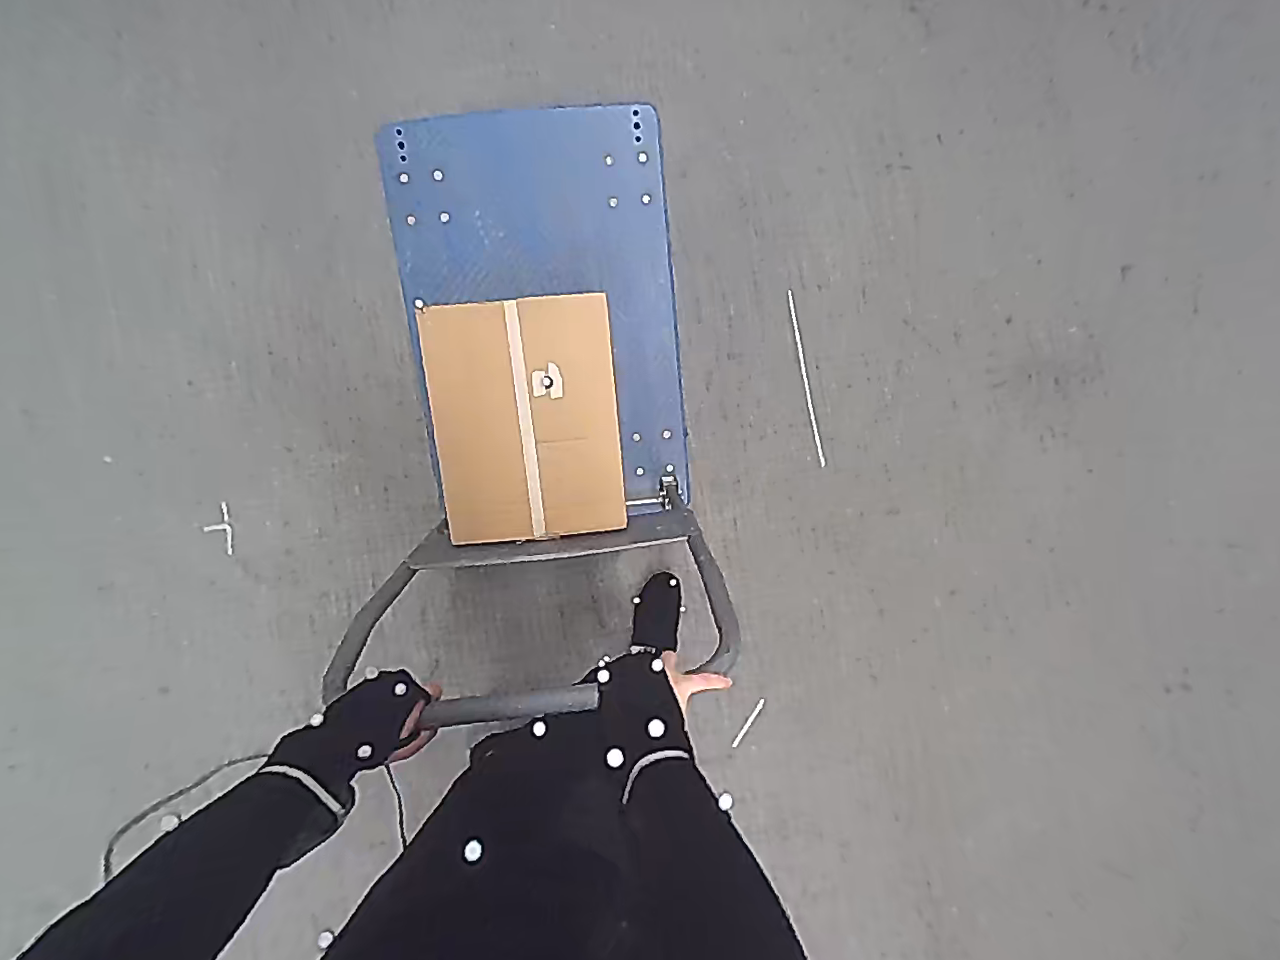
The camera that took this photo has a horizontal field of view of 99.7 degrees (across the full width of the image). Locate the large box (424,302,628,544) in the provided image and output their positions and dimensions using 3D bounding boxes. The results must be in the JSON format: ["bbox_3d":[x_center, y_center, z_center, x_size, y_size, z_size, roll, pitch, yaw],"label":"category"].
[{"bbox_3d":[-0.198,-0.116,1.089,0.320,0.320,0.408,-5,100,-2],"label":"large box"}]
